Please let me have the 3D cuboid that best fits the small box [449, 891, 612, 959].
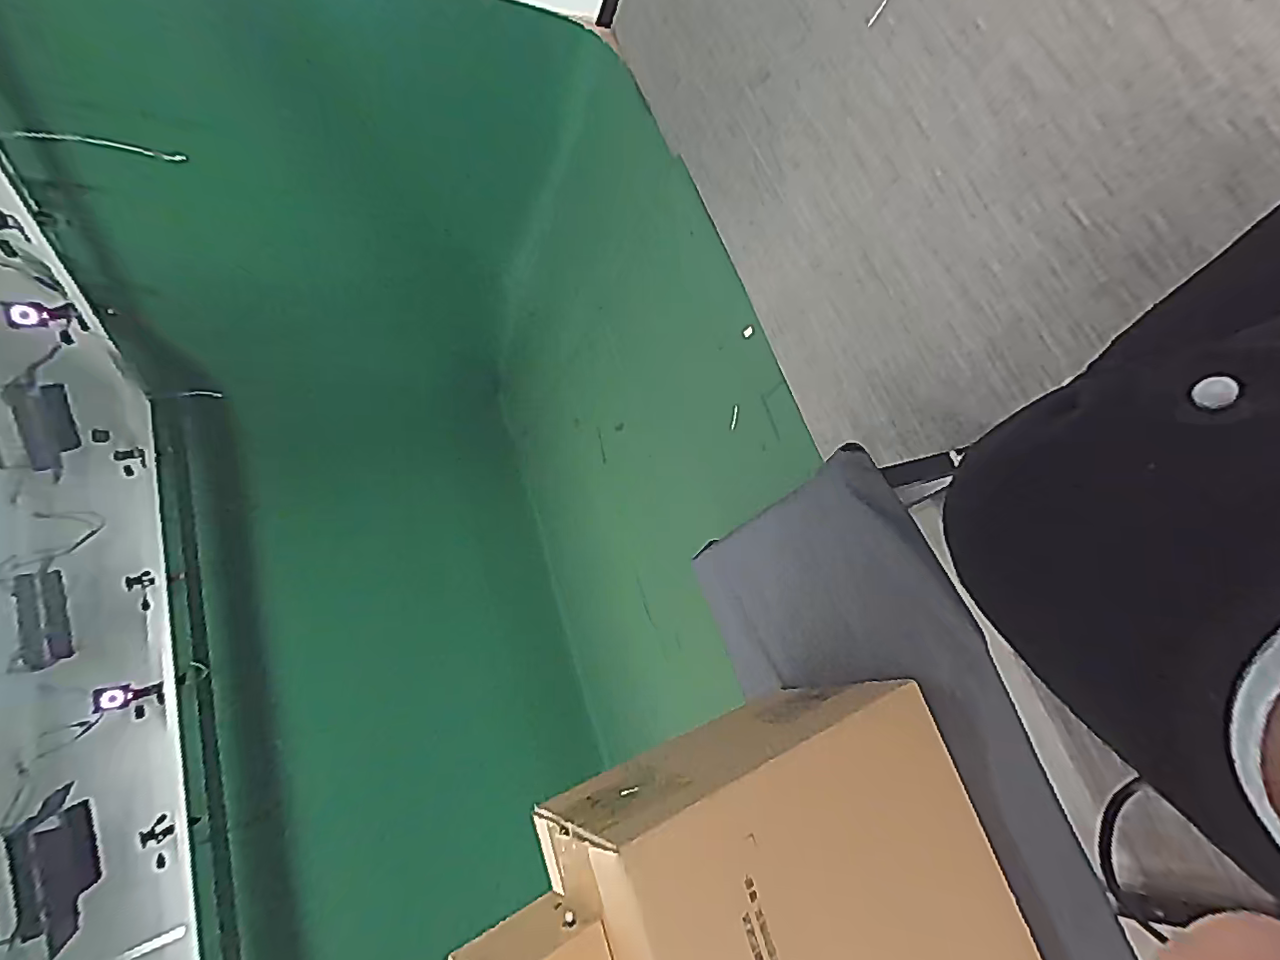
[{"bbox_3d":[-0.131,0.692,0.714,0.168,0.176,0.179,-37,68,51],"label":"small box"}]
